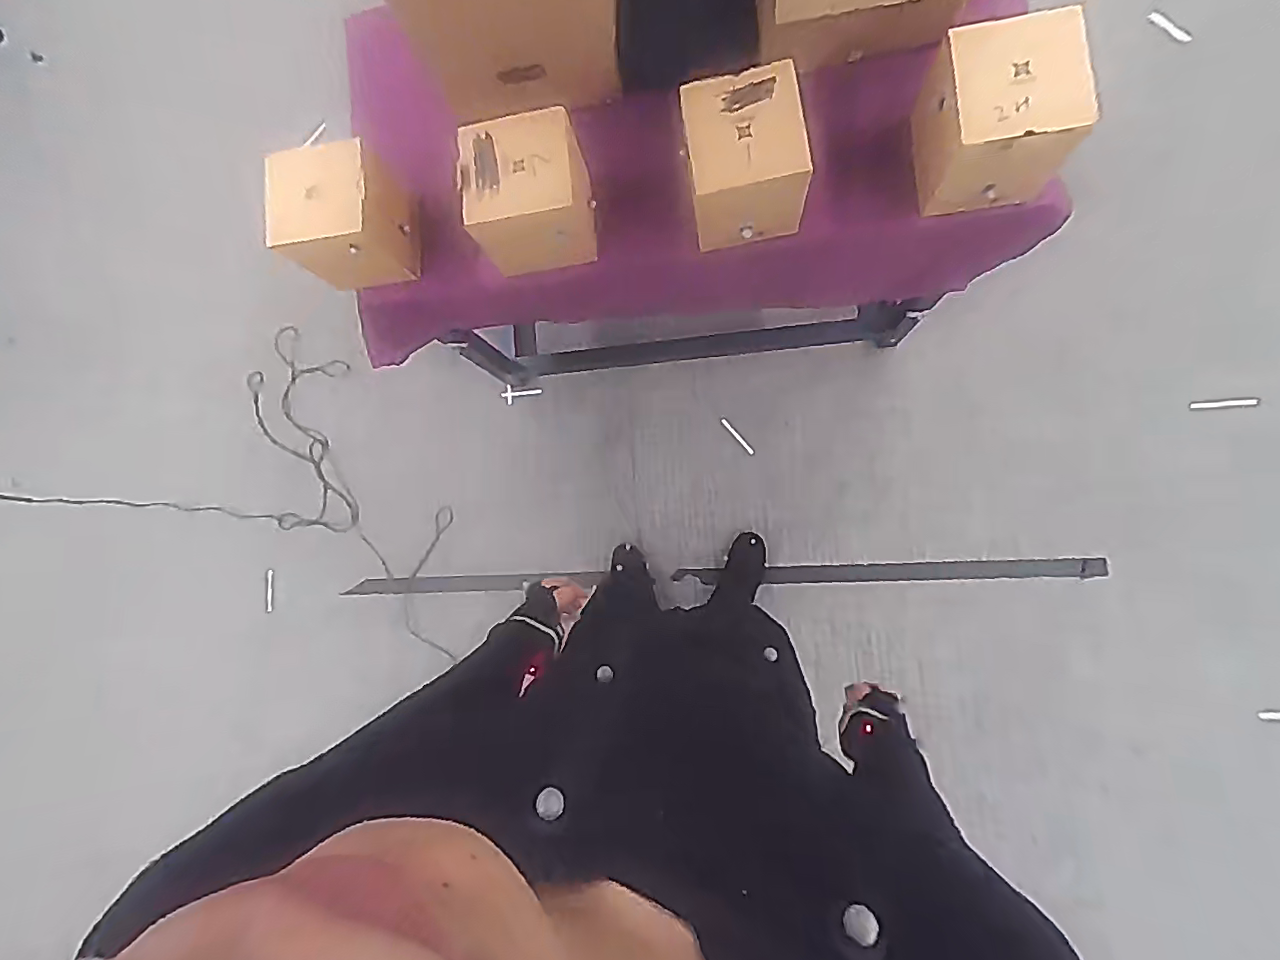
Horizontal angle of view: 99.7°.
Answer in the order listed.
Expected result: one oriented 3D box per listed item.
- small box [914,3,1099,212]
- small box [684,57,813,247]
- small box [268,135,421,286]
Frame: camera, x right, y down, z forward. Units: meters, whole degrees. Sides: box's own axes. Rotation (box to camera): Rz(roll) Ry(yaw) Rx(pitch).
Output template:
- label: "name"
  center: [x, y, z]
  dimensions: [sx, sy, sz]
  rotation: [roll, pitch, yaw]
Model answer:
- label: "small box"
  center: [0.517, -0.529, 0.791]
  dimensions: [0.168, 0.176, 0.179]
  rotation: [-4, 84, 10]
- label: "small box"
  center: [0.164, -0.499, 0.847]
  dimensions: [0.168, 0.176, 0.179]
  rotation: [-8, 85, 9]
- label: "small box"
  center: [-0.511, -0.461, 0.953]
  dimensions: [0.179, 0.176, 0.168]
  rotation: [-5, 84, 7]
